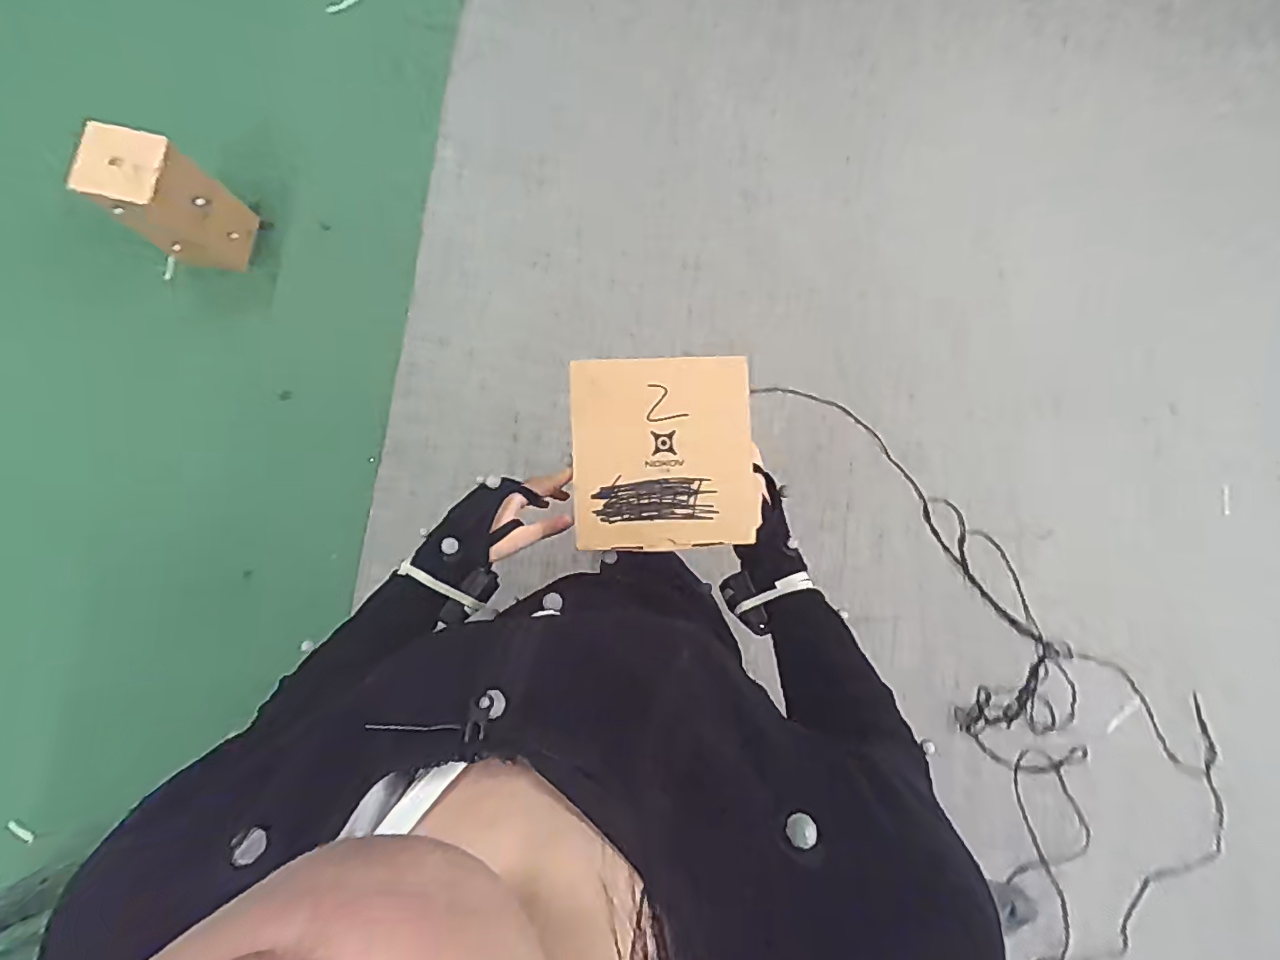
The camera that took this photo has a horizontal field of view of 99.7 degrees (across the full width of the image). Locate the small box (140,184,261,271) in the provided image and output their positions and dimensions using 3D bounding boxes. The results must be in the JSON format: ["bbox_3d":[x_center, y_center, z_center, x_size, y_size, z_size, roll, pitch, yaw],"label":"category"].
[{"bbox_3d":[-1.158,-0.679,1.441,0.179,0.176,0.168,9,84,-2],"label":"small box"}]

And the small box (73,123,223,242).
[{"bbox_3d":[-1.148,-0.691,1.276,0.179,0.176,0.168,12,84,-3],"label":"small box"}]
